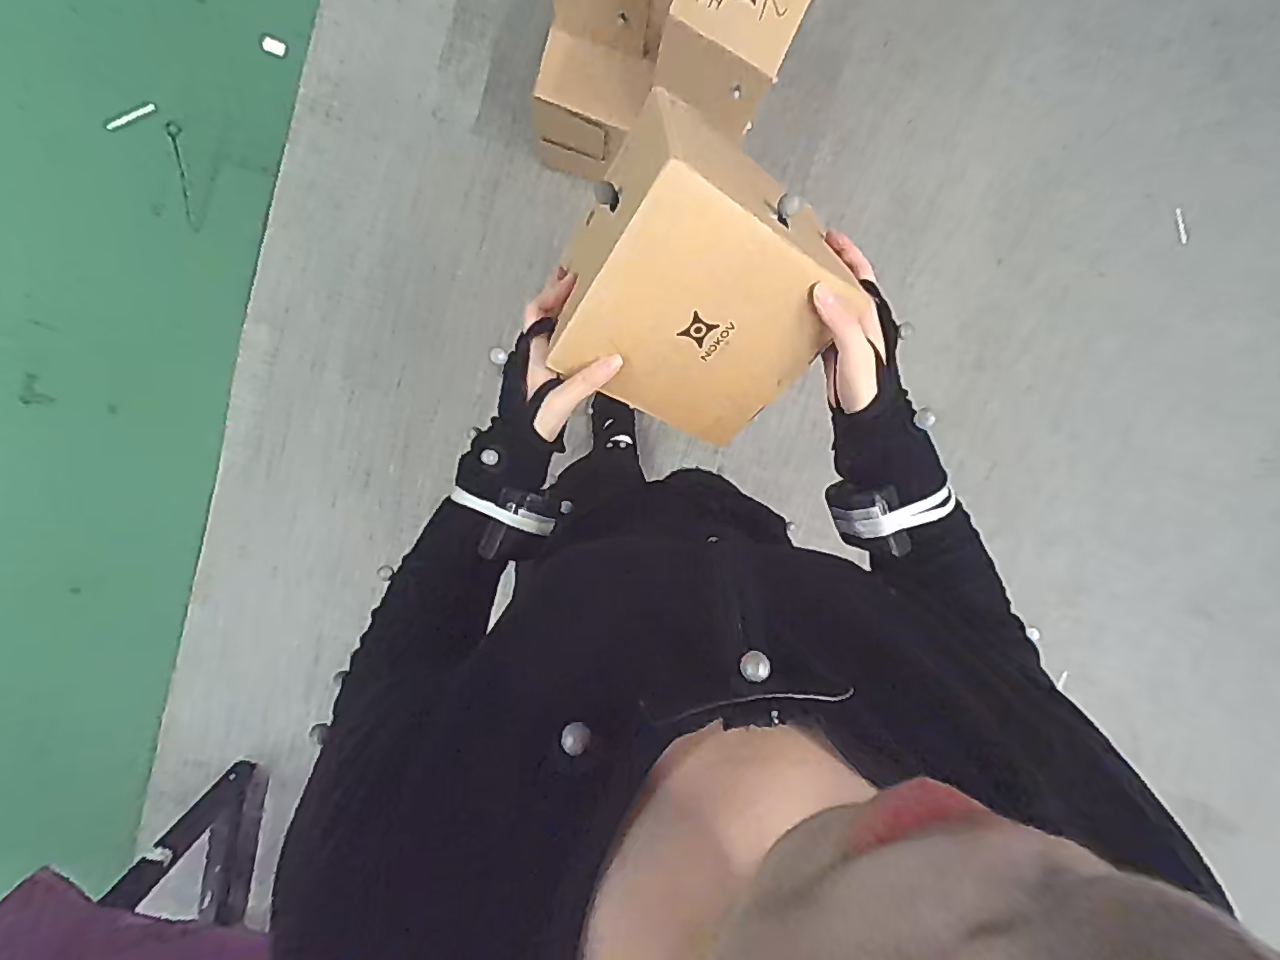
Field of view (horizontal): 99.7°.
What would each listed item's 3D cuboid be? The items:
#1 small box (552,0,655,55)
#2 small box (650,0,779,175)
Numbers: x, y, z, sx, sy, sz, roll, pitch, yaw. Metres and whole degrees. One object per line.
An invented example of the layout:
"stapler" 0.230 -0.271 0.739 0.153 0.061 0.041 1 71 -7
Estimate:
"small box" -0.054 -0.912 0.963 0.179 0.176 0.168 15 94 -5
"small box" 0.126 -0.712 1.000 0.168 0.176 0.179 20 94 -8
